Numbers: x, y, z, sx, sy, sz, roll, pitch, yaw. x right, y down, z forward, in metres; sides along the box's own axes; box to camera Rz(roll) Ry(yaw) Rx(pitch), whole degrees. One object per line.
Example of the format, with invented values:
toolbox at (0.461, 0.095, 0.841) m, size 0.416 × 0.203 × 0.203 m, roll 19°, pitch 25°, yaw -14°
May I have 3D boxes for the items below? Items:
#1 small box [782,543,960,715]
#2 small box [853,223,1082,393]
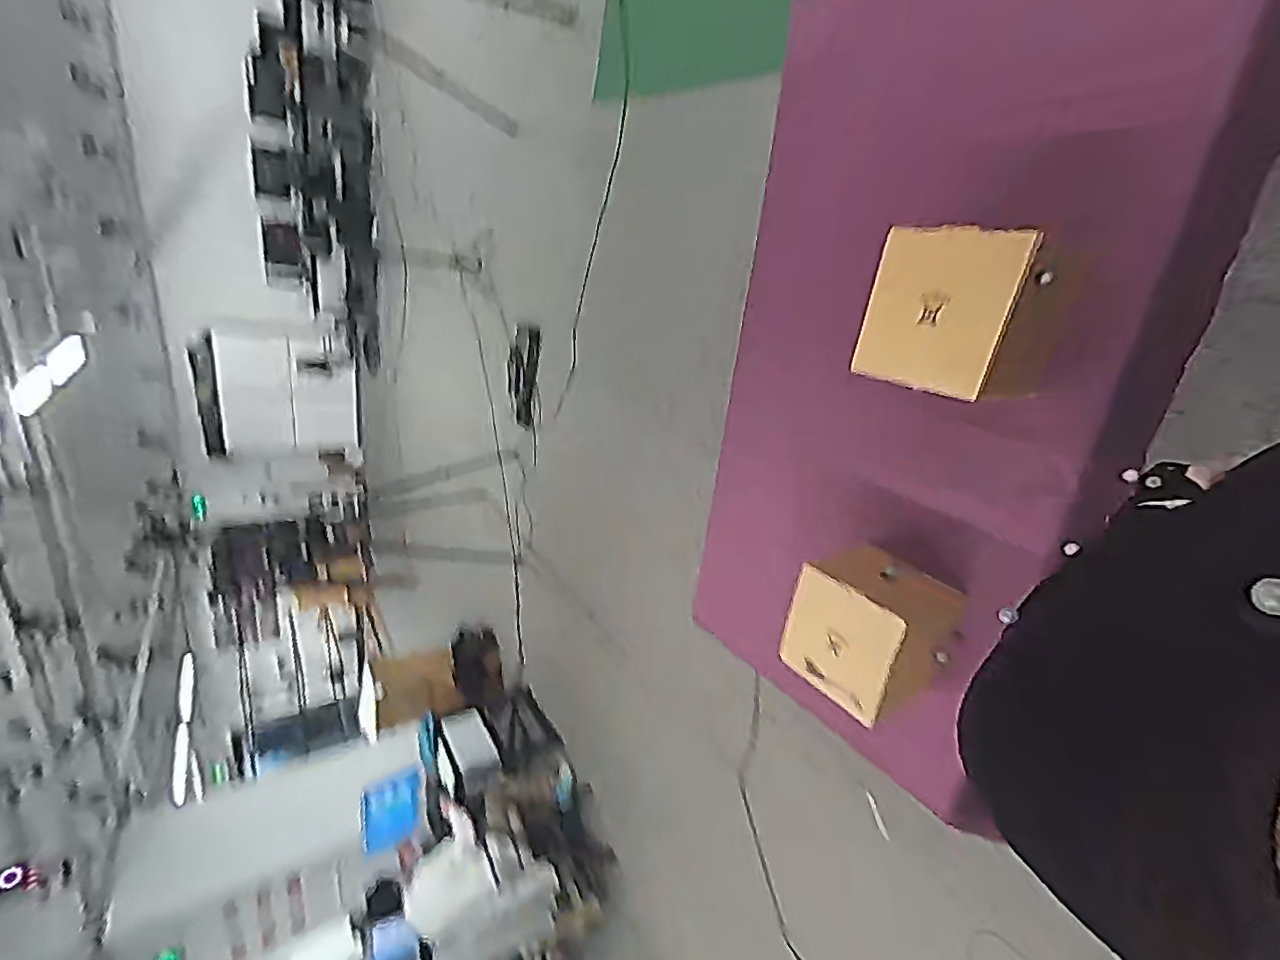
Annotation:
small box at (0.352, 0.212, 0.824) m, size 0.168 × 0.176 × 0.179 m, roll 32°, pitch 120°, yaw 49°
small box at (0.406, -0.213, 0.678) m, size 0.168 × 0.176 × 0.179 m, roll 33°, pitch 121°, yaw 48°
